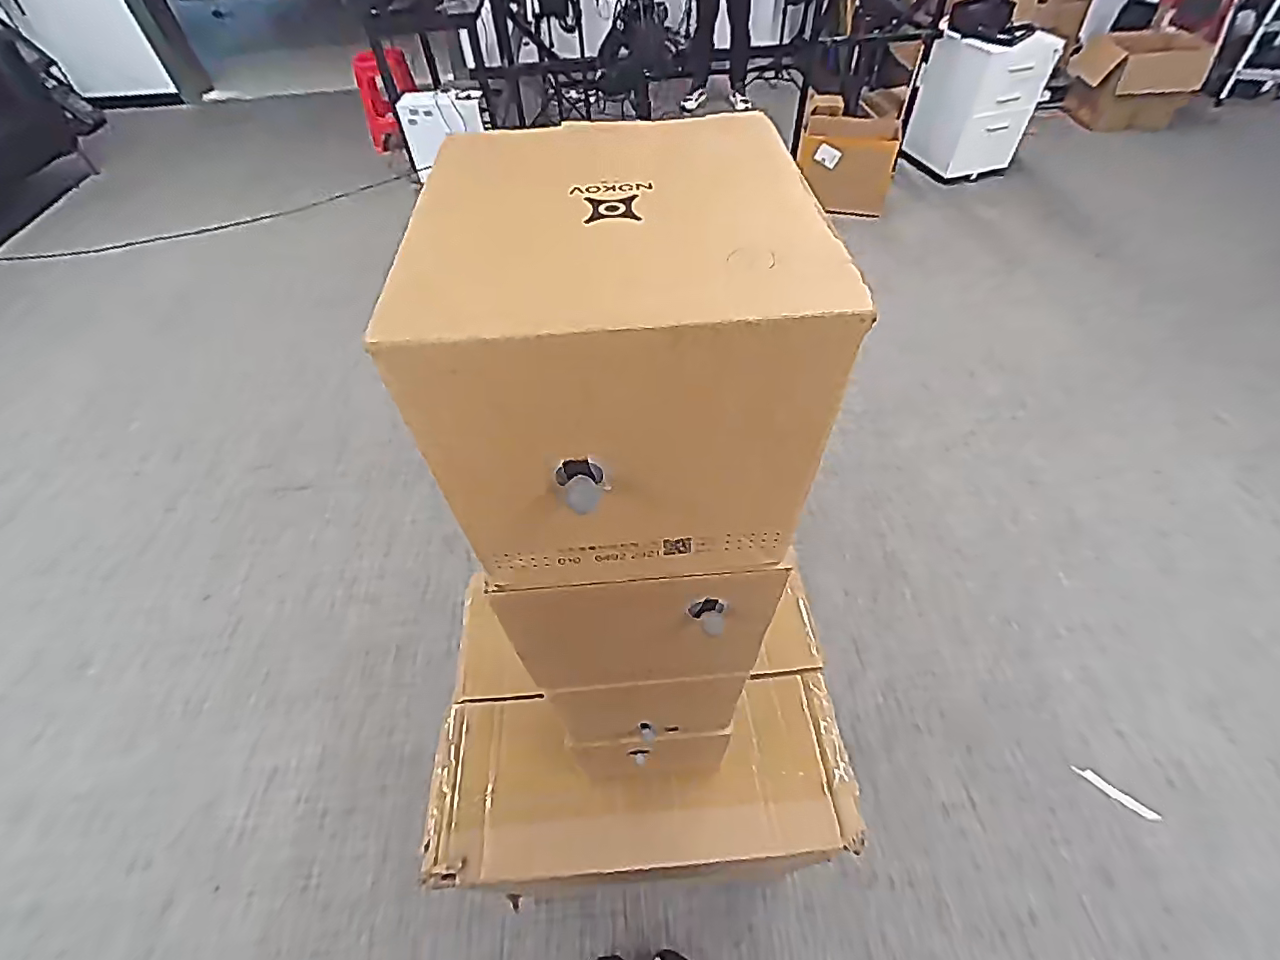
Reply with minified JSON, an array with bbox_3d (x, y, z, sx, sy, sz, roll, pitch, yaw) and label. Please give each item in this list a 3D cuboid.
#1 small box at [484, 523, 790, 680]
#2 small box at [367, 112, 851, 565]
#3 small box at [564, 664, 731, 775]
[{"bbox_3d":[-0.004,0.040,0.413,0.179,0.176,0.168,-5,51,-1],"label":"small box"},{"bbox_3d":[-0.011,-0.065,0.290,0.168,0.176,0.179,-5,51,-1],"label":"small box"},{"bbox_3d":[0.008,0.252,0.665,0.179,0.176,0.168,-4,51,-1],"label":"small box"}]
